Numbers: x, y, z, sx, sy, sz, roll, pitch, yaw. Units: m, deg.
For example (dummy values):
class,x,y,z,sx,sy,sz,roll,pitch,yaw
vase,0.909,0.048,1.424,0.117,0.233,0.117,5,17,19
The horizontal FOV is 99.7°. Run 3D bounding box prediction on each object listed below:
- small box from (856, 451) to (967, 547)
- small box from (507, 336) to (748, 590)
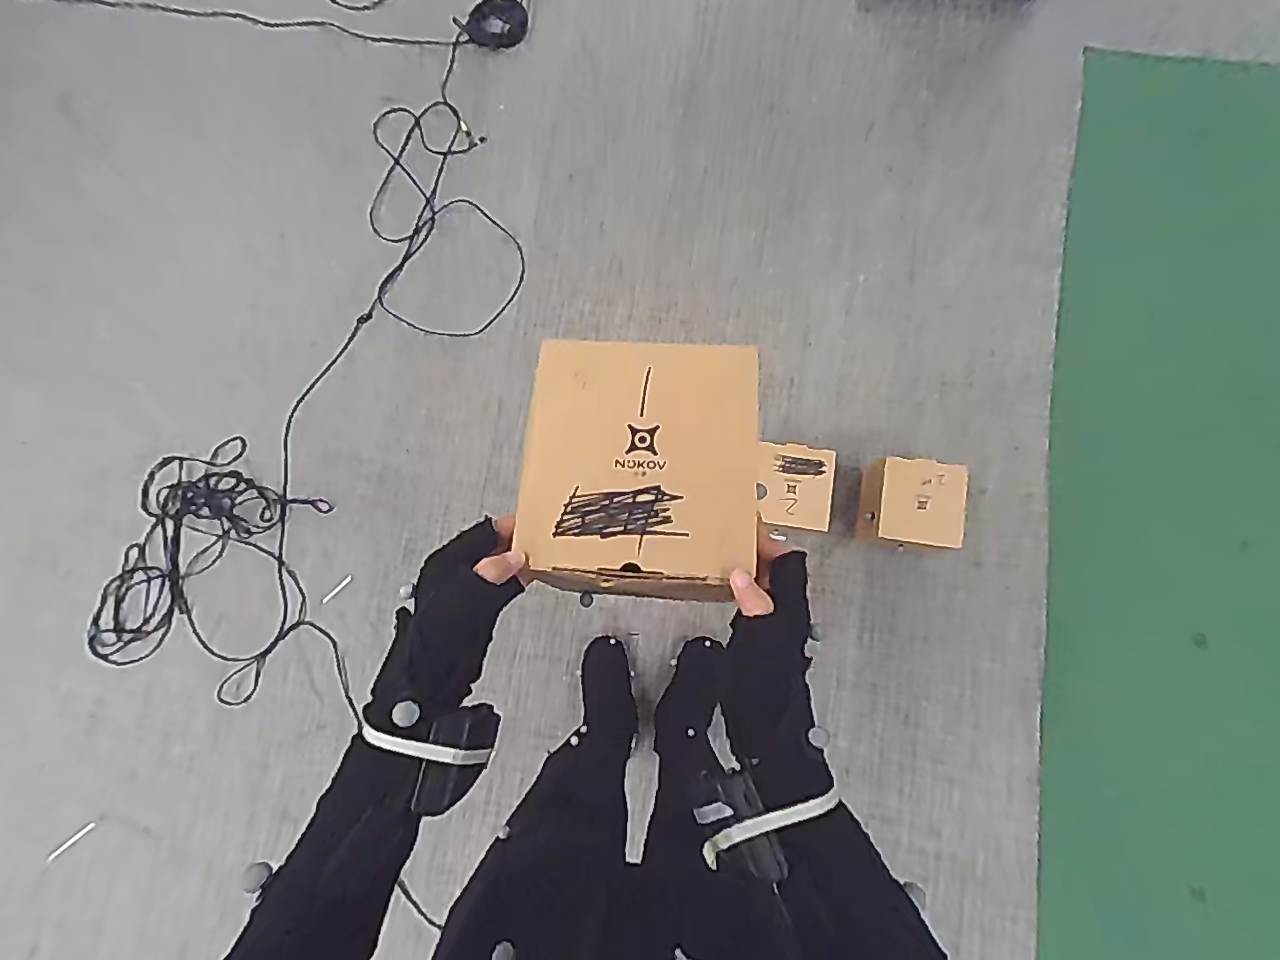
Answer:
class,x,y,z,sx,sy,sz,roll,pitch,yaw
small box,0.583,0.048,1.181,0.168,0.176,0.179,8,82,7
small box,0.001,-0.003,0.463,0.168,0.176,0.179,2,73,6
